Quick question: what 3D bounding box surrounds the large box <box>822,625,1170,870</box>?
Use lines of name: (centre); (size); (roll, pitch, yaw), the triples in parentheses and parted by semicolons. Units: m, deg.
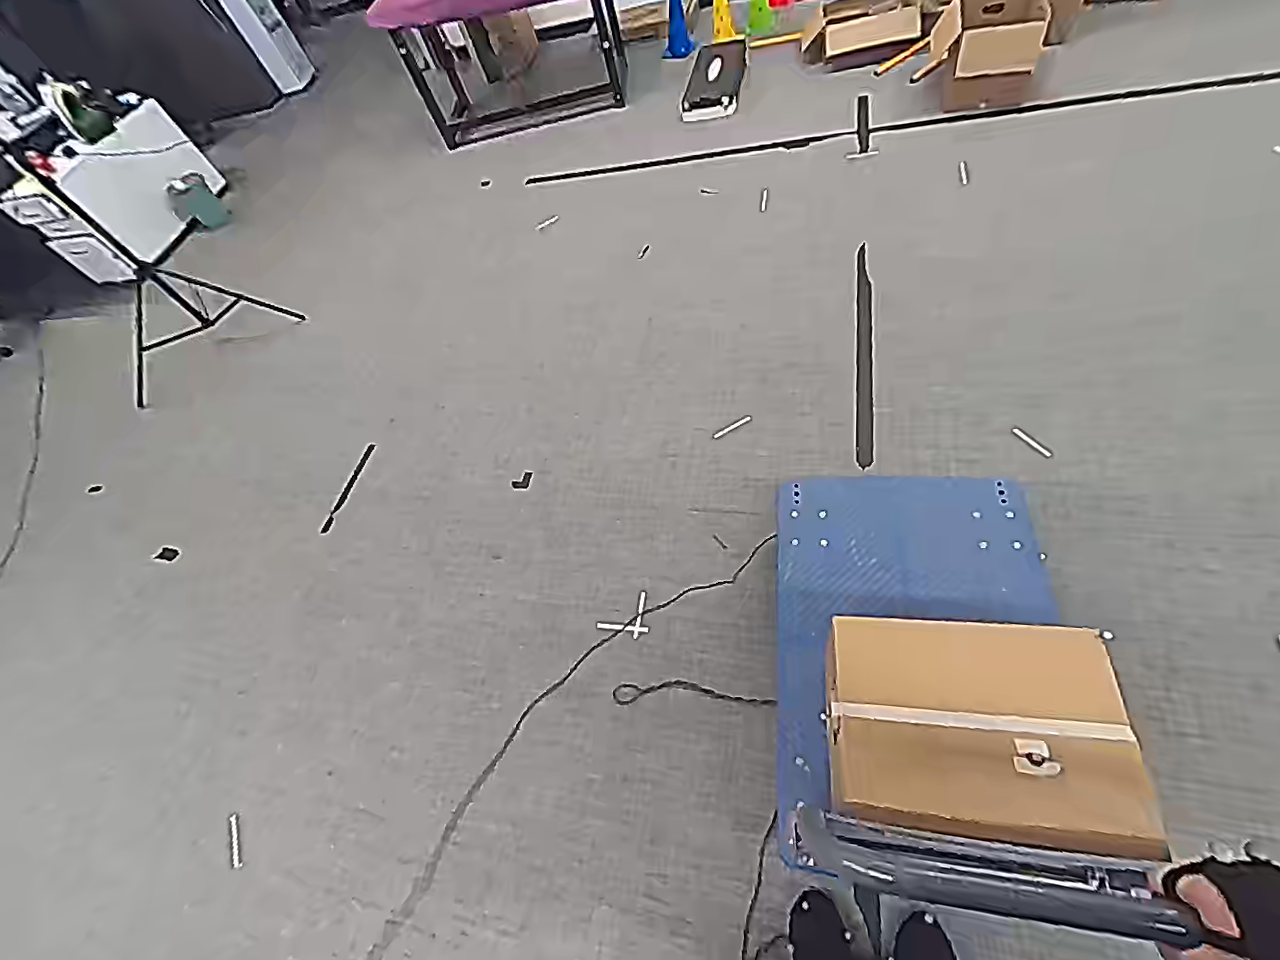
large box: (0.545, 0.461, 0.946); (0.408, 0.320, 0.320); (0, 58, 15)
